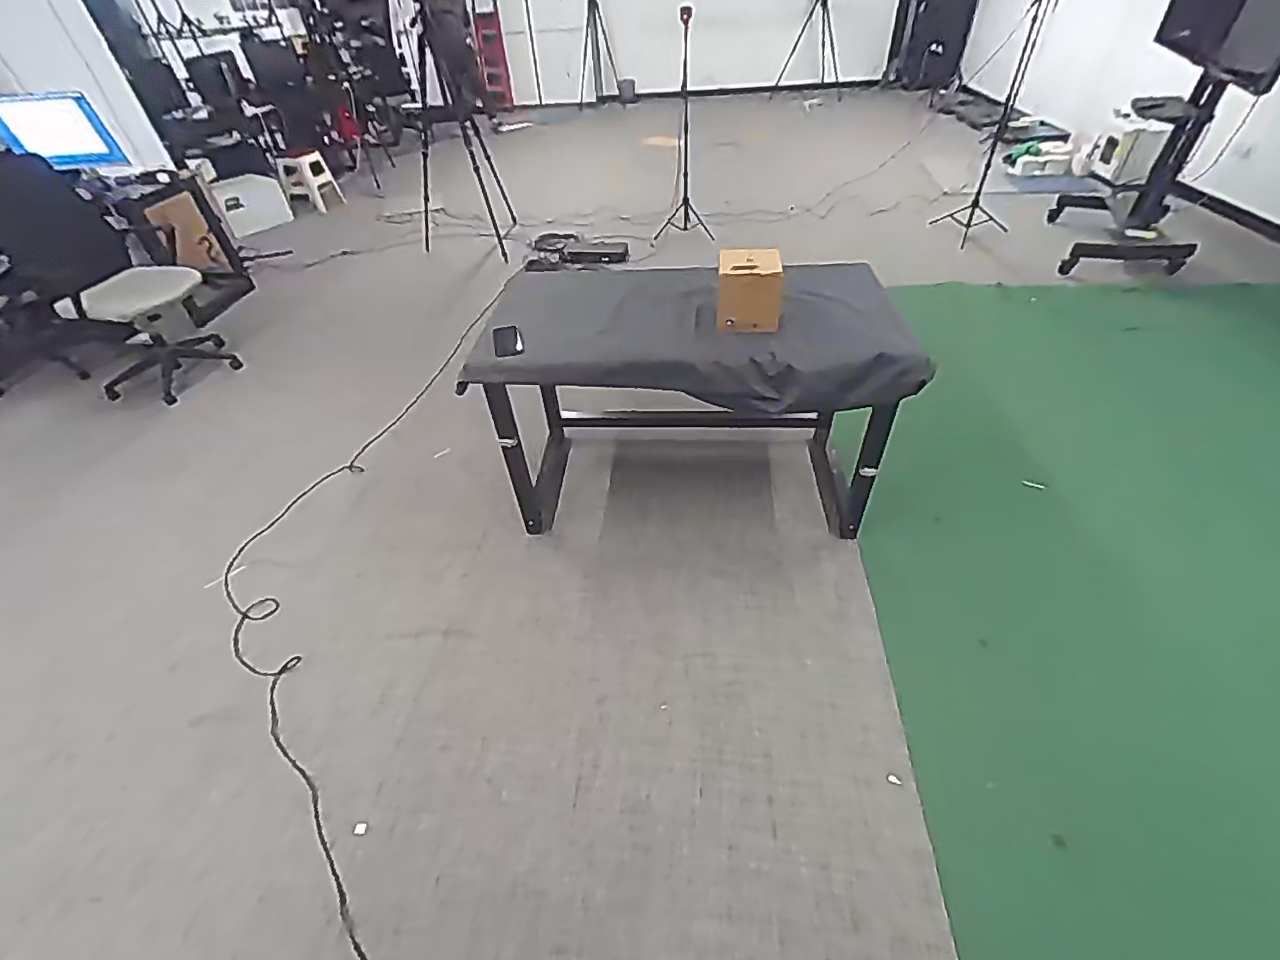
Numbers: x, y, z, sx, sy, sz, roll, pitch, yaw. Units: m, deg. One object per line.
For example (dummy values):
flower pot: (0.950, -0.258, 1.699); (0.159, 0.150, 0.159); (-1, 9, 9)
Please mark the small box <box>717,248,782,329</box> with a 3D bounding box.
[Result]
small box: (0.307, -0.541, 1.531); (0.168, 0.176, 0.179); (2, 42, 6)
